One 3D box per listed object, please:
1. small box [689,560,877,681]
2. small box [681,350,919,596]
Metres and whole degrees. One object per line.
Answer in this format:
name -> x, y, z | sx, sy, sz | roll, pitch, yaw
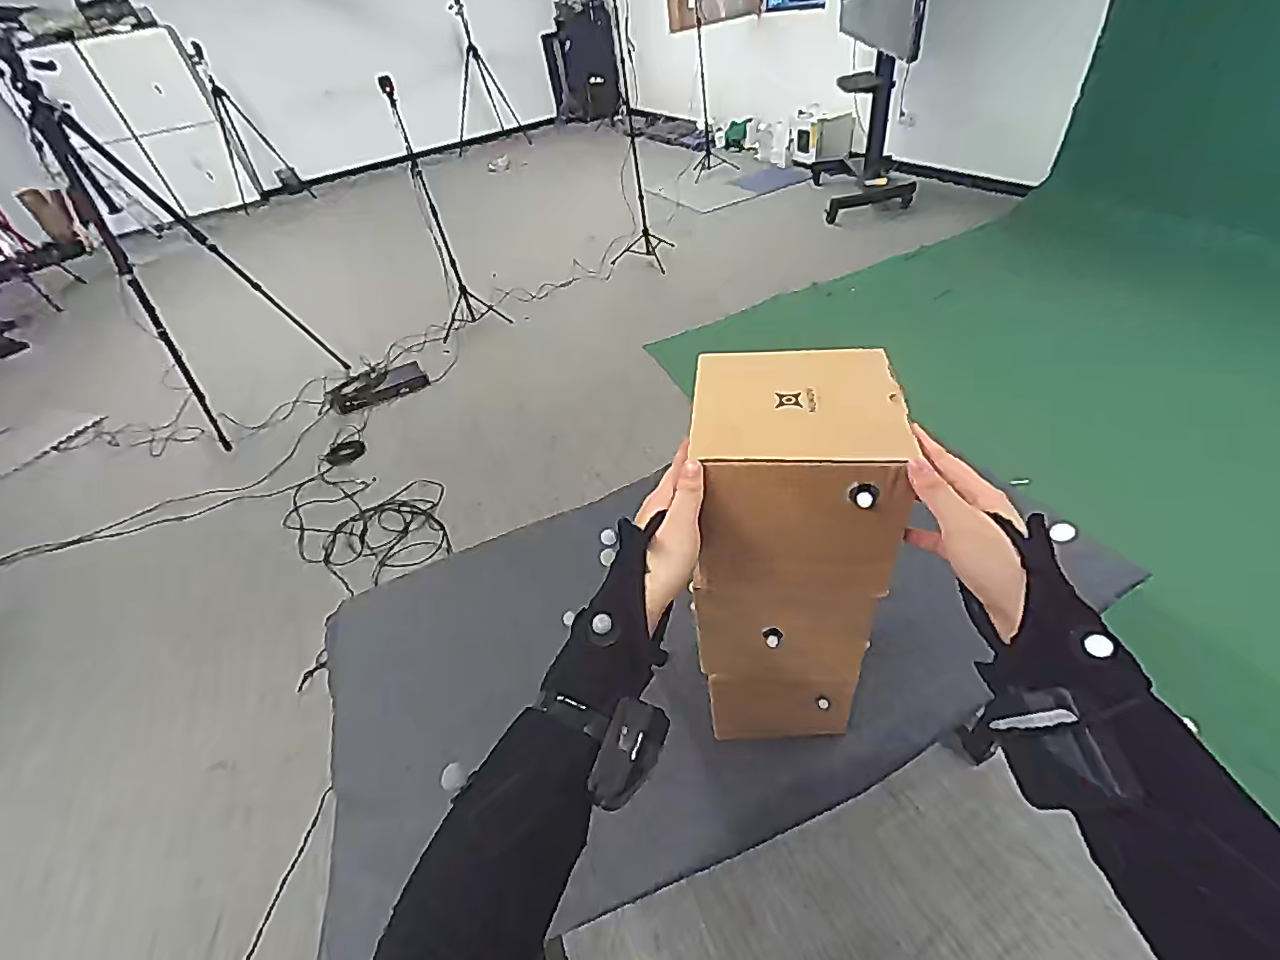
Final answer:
small box -> 0.156, 0.113, 0.621 | 0.179, 0.176, 0.168 | -1, 42, 12
small box -> 0.138, -0.006, 0.512 | 0.179, 0.176, 0.168 | 1, 43, 10
